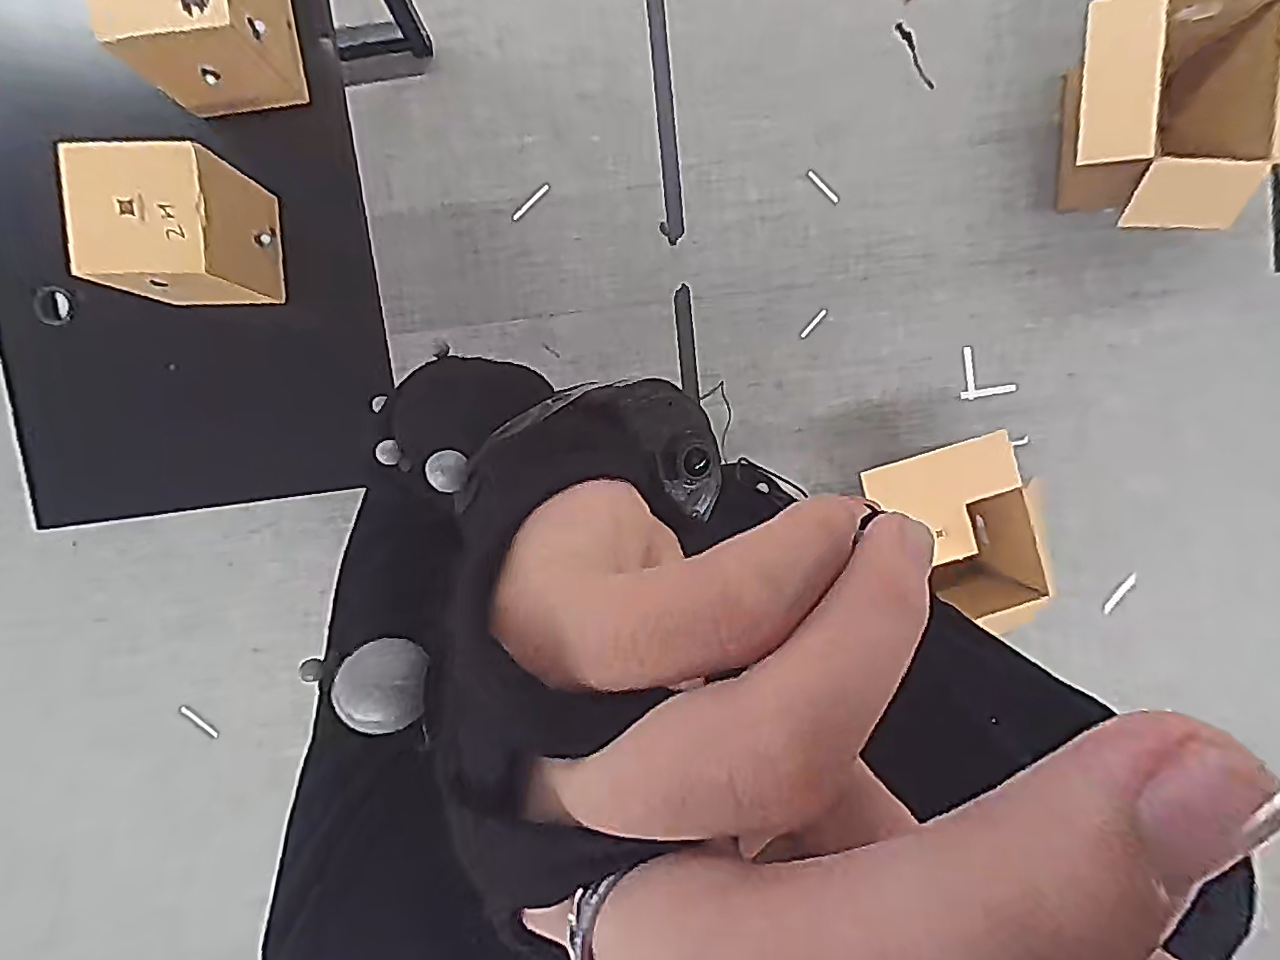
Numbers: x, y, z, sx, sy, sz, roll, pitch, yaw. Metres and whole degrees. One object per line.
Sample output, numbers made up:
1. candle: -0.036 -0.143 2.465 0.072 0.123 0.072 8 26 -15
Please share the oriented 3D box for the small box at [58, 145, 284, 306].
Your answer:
1. small box: -0.655 -0.352 0.776 0.179 0.176 0.168 -2 95 -2
